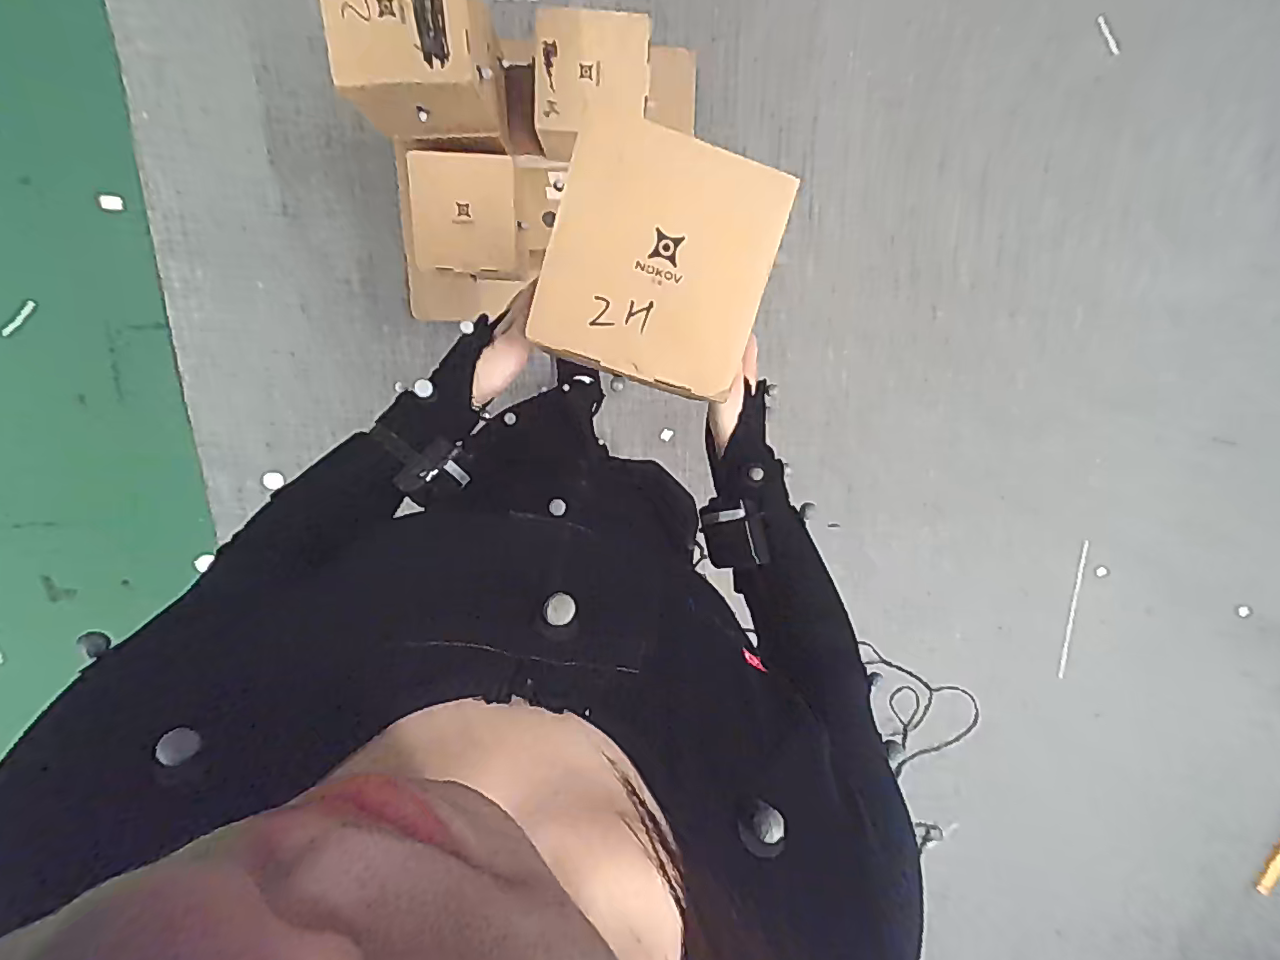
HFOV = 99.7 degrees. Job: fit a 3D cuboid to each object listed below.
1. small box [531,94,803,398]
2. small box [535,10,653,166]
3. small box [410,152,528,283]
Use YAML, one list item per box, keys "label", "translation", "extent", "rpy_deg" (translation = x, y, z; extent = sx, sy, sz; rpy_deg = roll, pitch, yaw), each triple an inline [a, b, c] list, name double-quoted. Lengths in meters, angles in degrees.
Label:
- label: "small box"
  translation: [0.013, -0.181, 0.480]
  extent: [0.168, 0.176, 0.179]
  rpy_deg: [17, 97, -7]
- label: "small box"
  translation: [-0.076, -0.638, 0.909]
  extent: [0.179, 0.176, 0.168]
  rpy_deg: [4, 105, -3]
- label: "small box"
  translation: [-0.288, -0.447, 0.946]
  extent: [0.168, 0.176, 0.179]
  rpy_deg: [0, 106, -5]
